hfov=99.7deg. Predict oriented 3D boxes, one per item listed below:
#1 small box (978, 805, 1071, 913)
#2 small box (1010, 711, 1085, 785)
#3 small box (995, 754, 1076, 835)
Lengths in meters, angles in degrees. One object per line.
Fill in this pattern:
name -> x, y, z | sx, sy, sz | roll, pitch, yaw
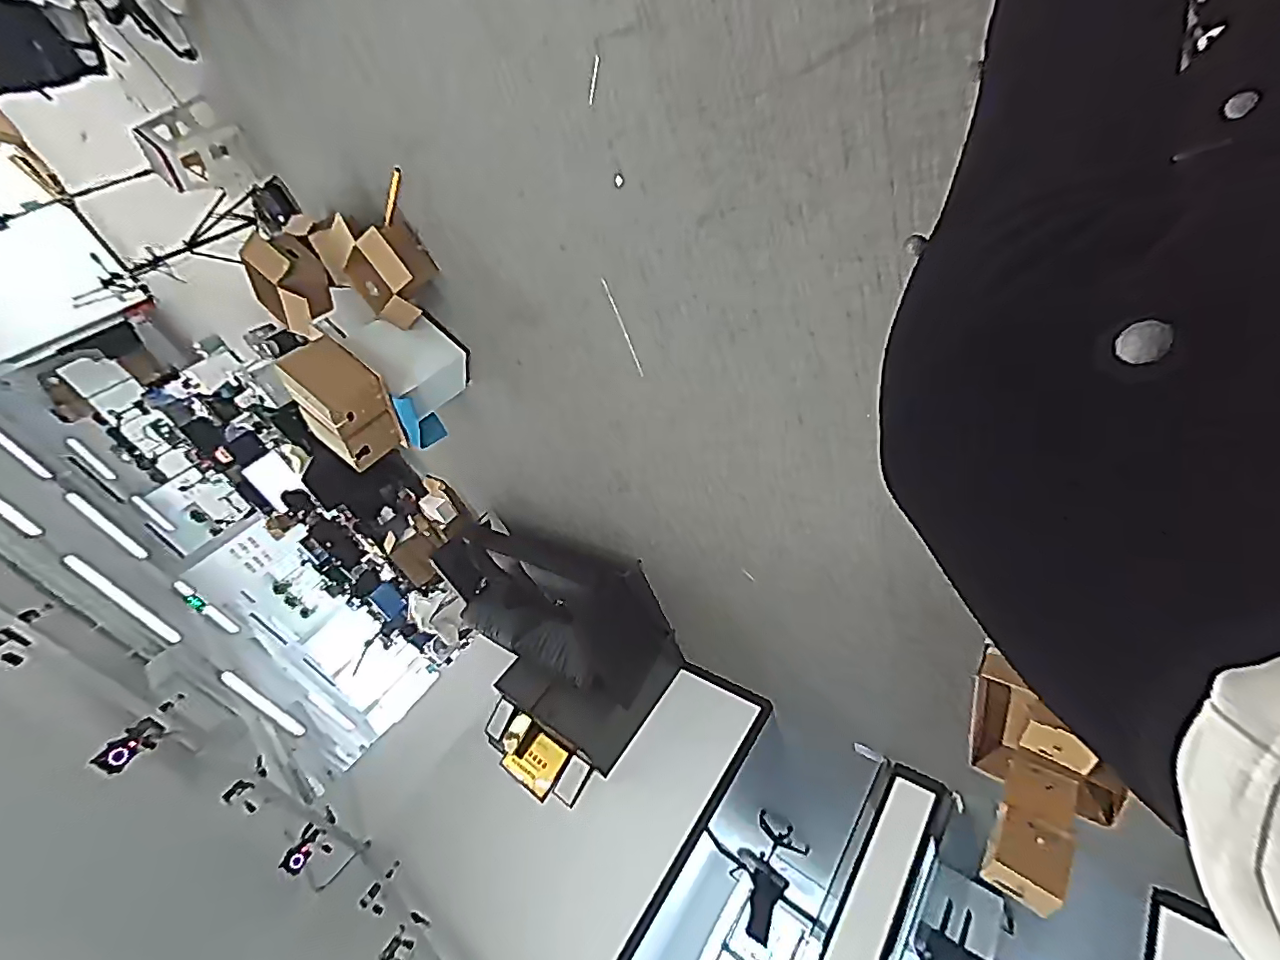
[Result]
small box -> 1.099, 1.079, 1.547 | 0.168, 0.176, 0.179 | 21, 140, 34
small box -> 1.291, 0.879, 1.719 | 0.168, 0.176, 0.179 | 12, 136, 40
small box -> 1.193, 0.975, 1.633 | 0.168, 0.176, 0.179 | 13, 136, 41
